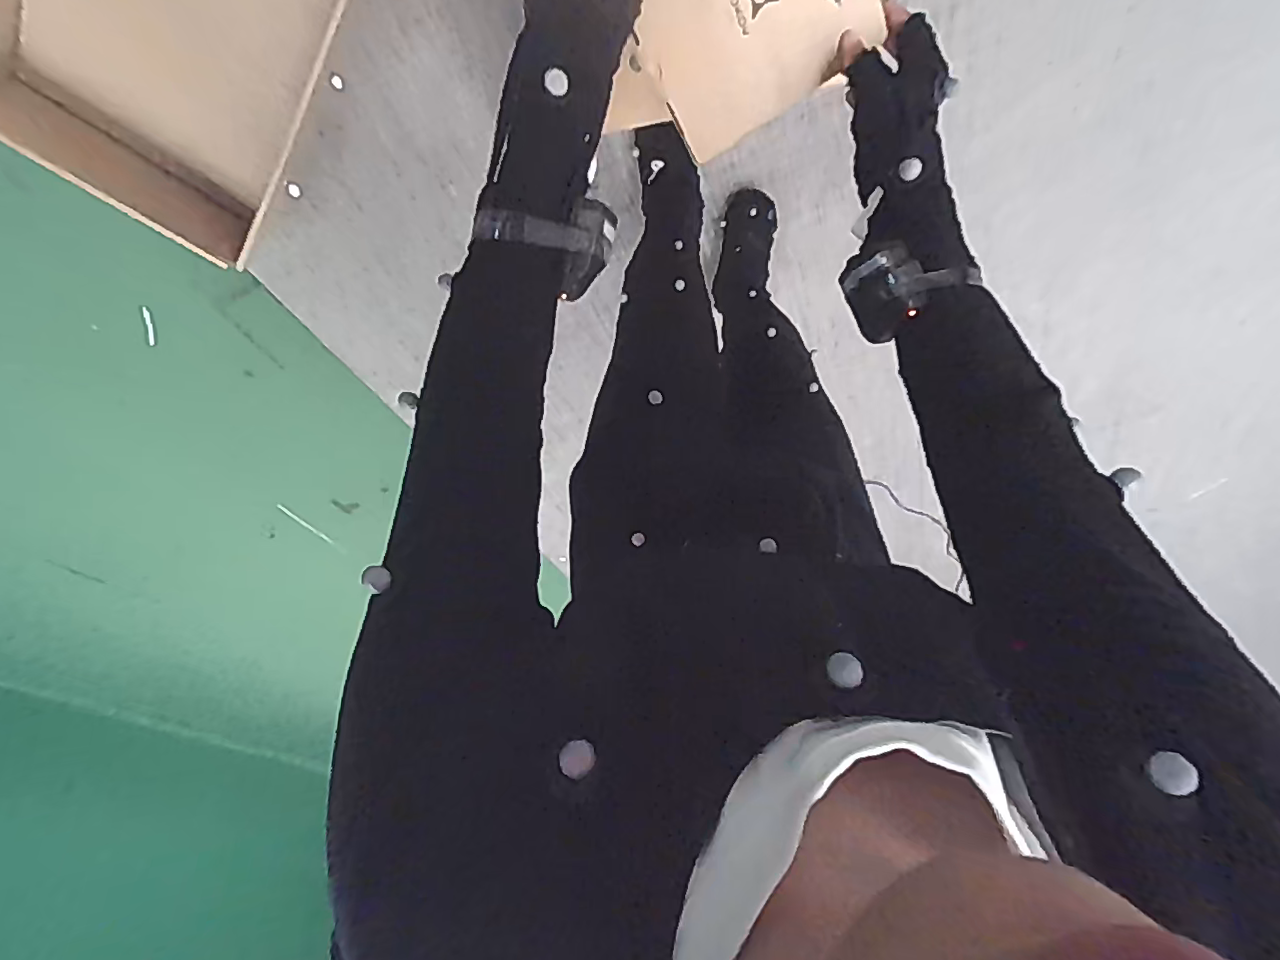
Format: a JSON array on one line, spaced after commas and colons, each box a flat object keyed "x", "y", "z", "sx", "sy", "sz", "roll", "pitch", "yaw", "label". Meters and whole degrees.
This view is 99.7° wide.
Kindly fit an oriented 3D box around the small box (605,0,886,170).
[{"x": 0.079, "y": -0.416, "z": 0.465, "sx": 0.179, "sy": 0.176, "sz": 0.168, "roll": -25, "pitch": 132, "yaw": 22, "label": "small box"}]

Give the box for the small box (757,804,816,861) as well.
[{"x": 0.572, "y": 1.379, "z": 2.121, "sx": 0.168, "sy": 0.176, "sz": 0.179, "roll": -19, "pitch": 137, "yaw": 21, "label": "small box"}]
